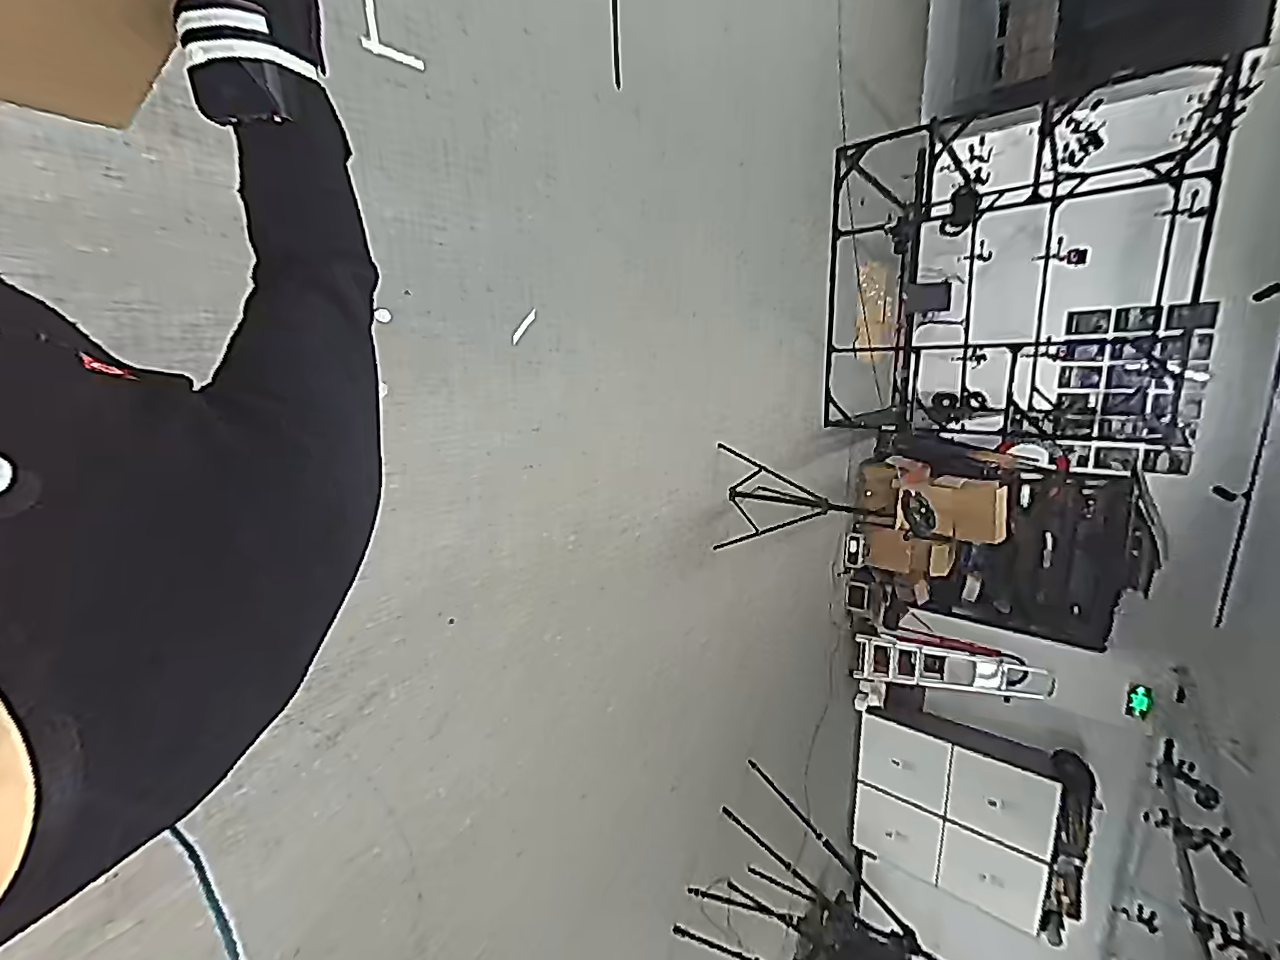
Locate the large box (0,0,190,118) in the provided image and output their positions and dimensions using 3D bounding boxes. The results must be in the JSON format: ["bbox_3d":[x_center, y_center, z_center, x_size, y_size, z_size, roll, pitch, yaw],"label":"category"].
[{"bbox_3d":[-0.515,-0.446,0.254,0.408,0.320,0.320,-15,108,-50],"label":"large box"}]
